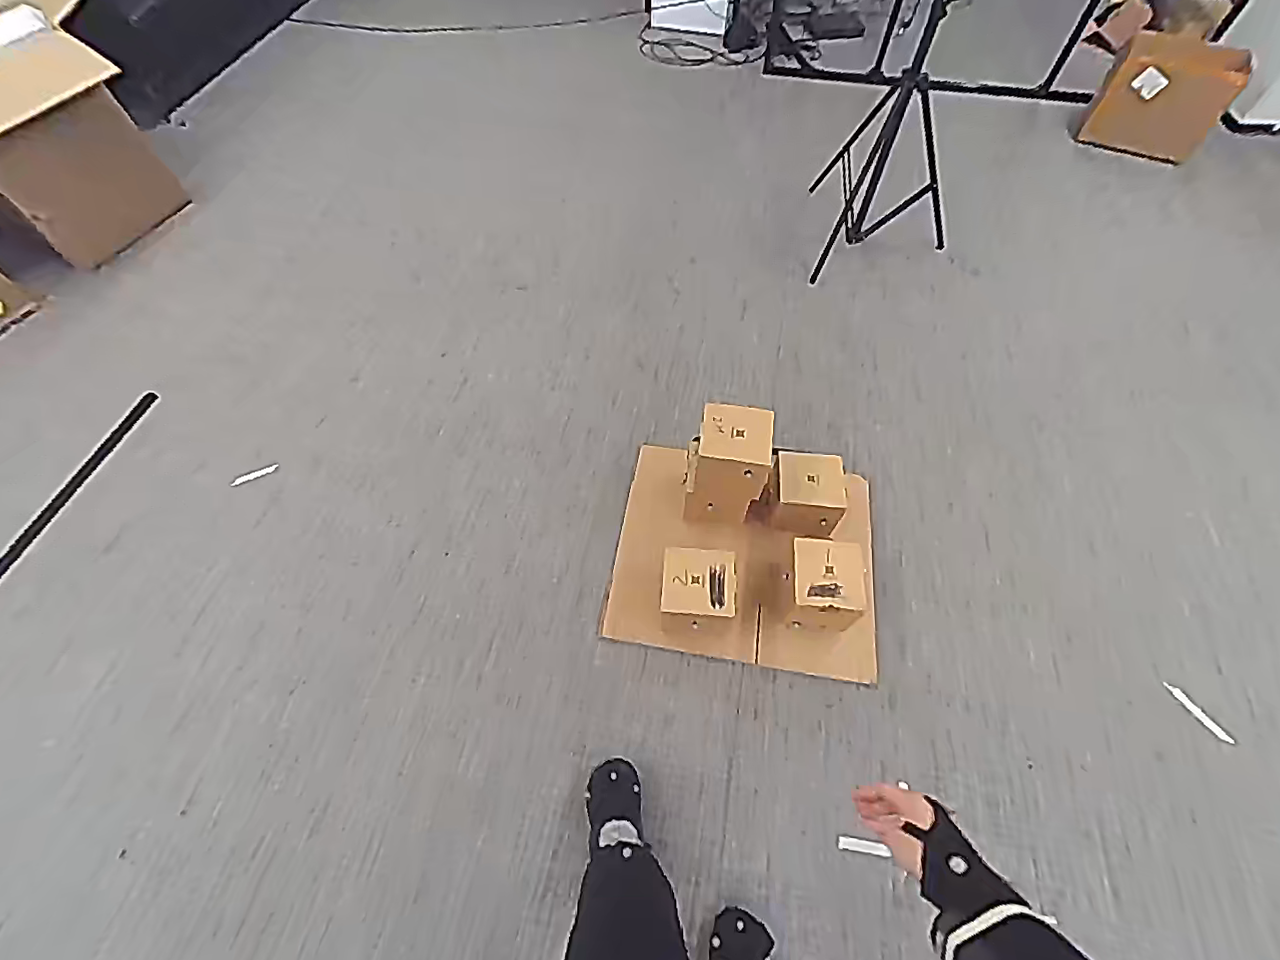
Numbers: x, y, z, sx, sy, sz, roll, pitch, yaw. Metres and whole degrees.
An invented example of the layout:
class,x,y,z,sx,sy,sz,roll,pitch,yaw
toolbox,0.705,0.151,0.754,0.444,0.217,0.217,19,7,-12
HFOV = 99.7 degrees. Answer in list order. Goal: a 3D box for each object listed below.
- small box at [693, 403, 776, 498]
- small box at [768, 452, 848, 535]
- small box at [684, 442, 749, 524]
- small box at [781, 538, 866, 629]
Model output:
class,x,y,z,sx,sy,sz,roll,pitch,yaw
small box,0.237,-0.069,1.368,0.179,0.176,0.168,8,59,6
small box,0.458,0.041,1.496,0.179,0.176,0.168,4,59,4
small box,0.215,0.012,1.513,0.179,0.176,0.168,4,60,5
small box,0.454,0.265,1.360,0.168,0.176,0.179,6,59,4
